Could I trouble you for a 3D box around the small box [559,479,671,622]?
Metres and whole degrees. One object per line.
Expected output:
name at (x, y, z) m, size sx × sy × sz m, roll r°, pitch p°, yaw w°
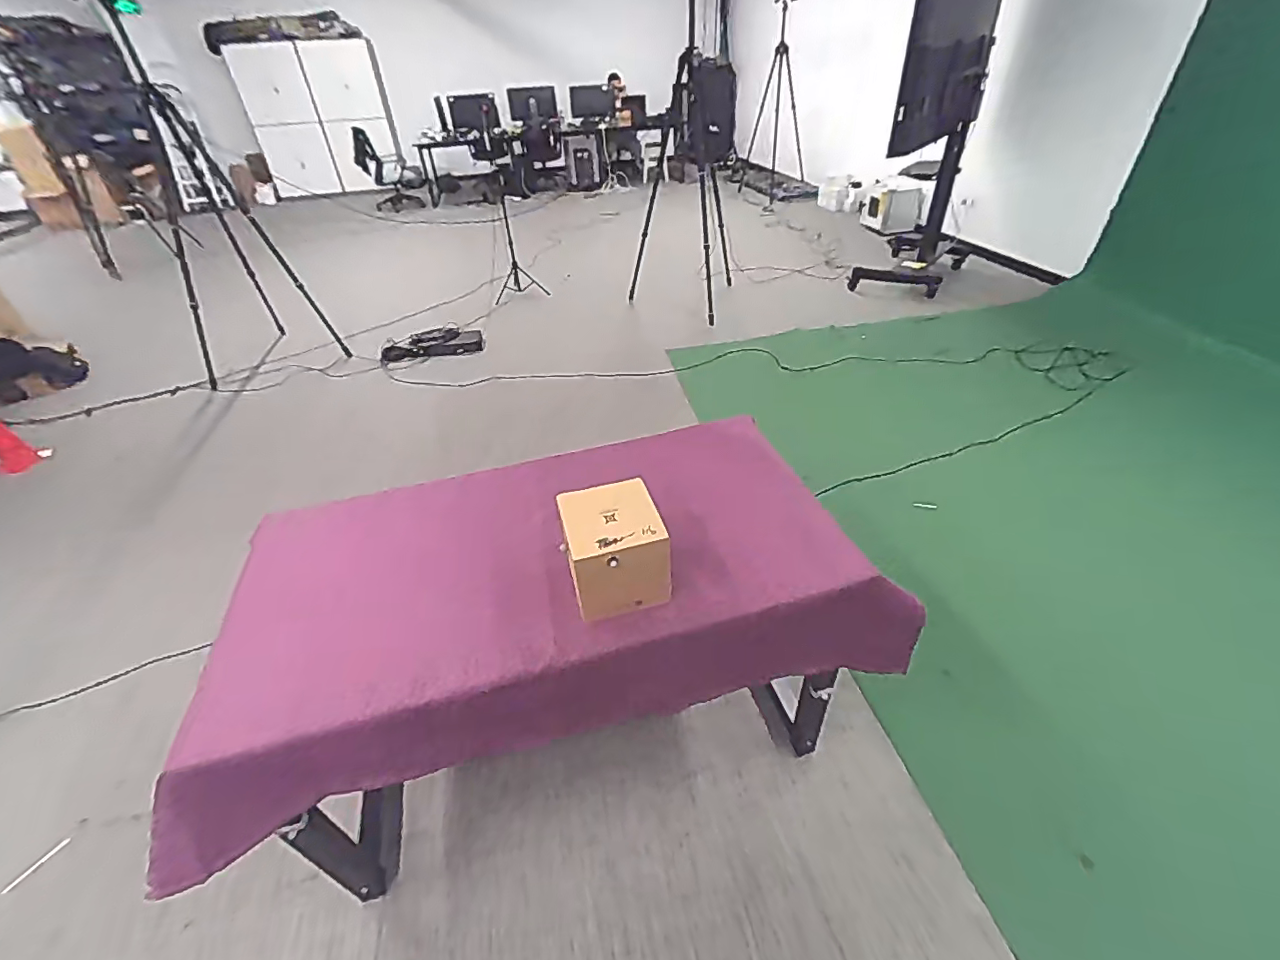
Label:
small box at (-0.046, 0.128, 0.995) m, size 0.168 × 0.176 × 0.179 m, roll -13°, pitch 39°, yaw -10°
